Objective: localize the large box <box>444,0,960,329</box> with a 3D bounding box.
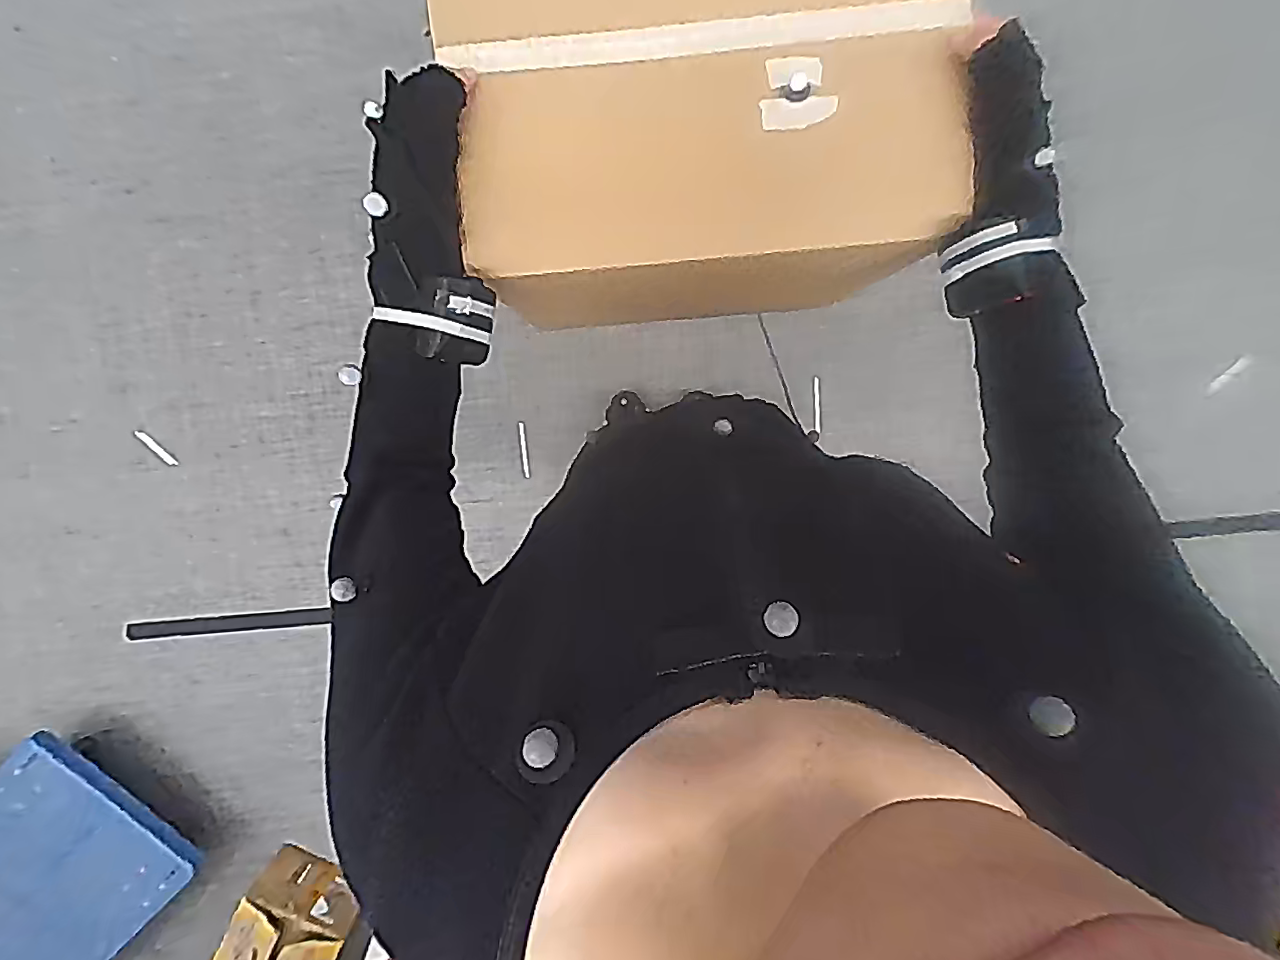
[{"bbox_3d":[0.047,-0.358,0.571,0.408,0.320,0.320,-5,98,0],"label":"large box"}]
